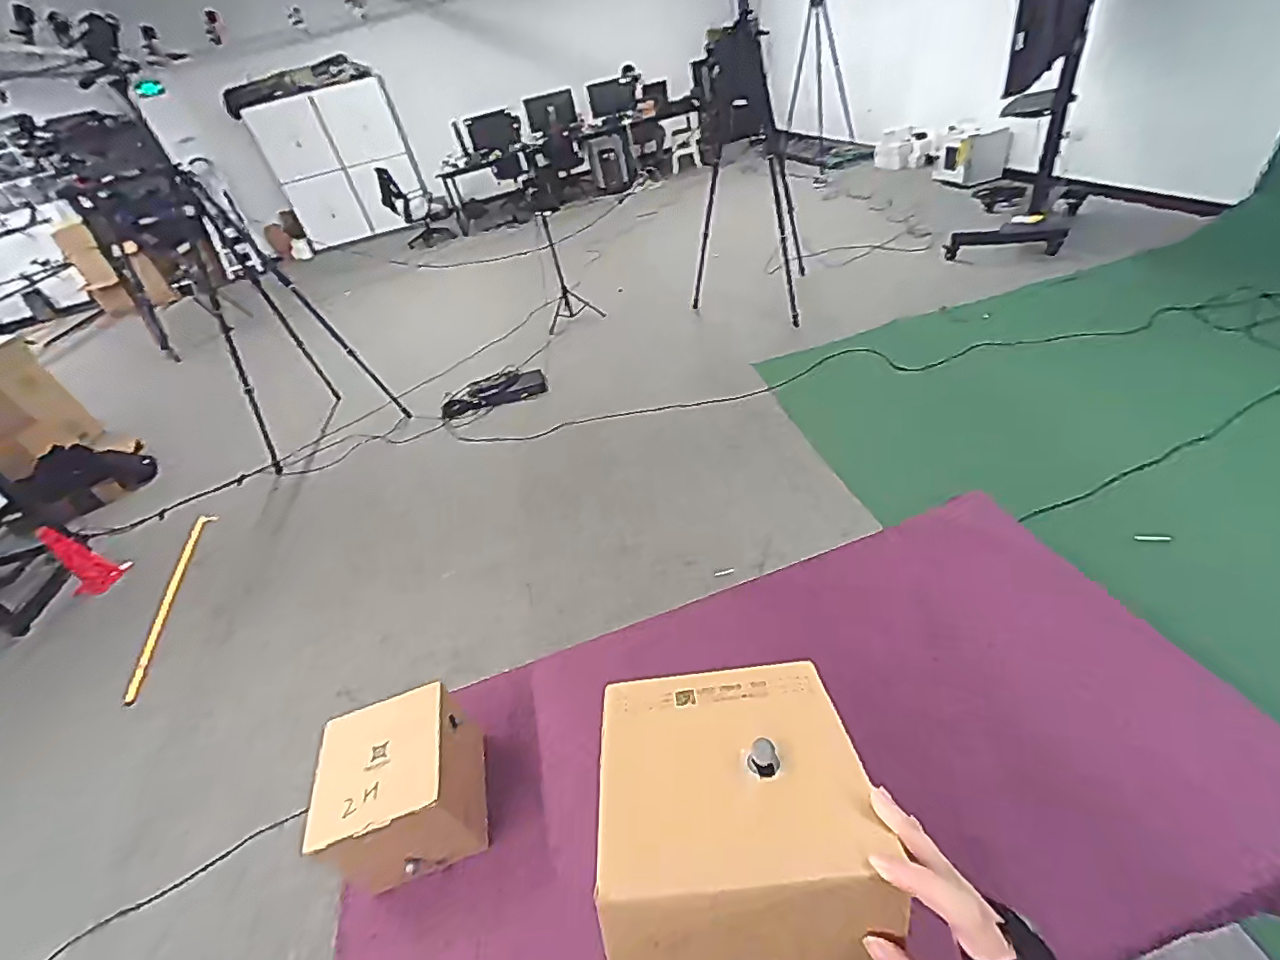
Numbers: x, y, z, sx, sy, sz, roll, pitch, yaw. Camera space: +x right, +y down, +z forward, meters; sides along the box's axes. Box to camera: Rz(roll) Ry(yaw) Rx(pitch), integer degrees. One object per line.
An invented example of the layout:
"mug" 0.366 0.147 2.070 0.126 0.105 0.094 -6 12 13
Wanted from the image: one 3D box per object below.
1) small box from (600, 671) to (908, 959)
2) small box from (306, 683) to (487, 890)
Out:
"small box" 0.067 0.255 0.383 0.168 0.179 0.176 -7 20 3
"small box" -0.325 0.427 0.760 0.168 0.176 0.179 -19 39 -5
